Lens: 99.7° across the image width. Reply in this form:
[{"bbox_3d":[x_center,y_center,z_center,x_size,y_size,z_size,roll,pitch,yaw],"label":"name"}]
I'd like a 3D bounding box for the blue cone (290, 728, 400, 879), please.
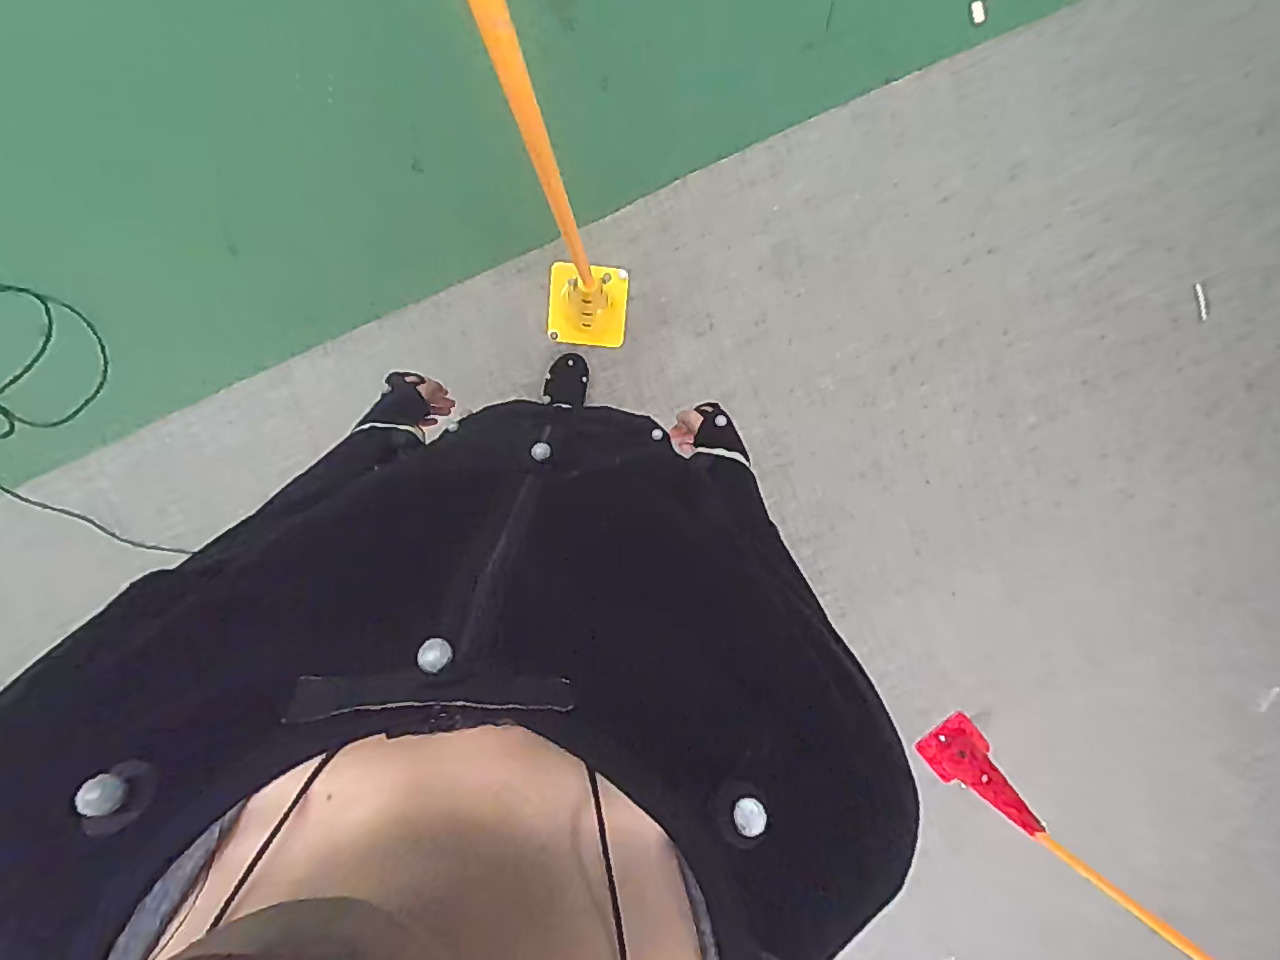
[{"bbox_3d":[-0.784,0.849,1.403,0.192,0.380,0.193,19,101,-10],"label":"blue cone"}]
